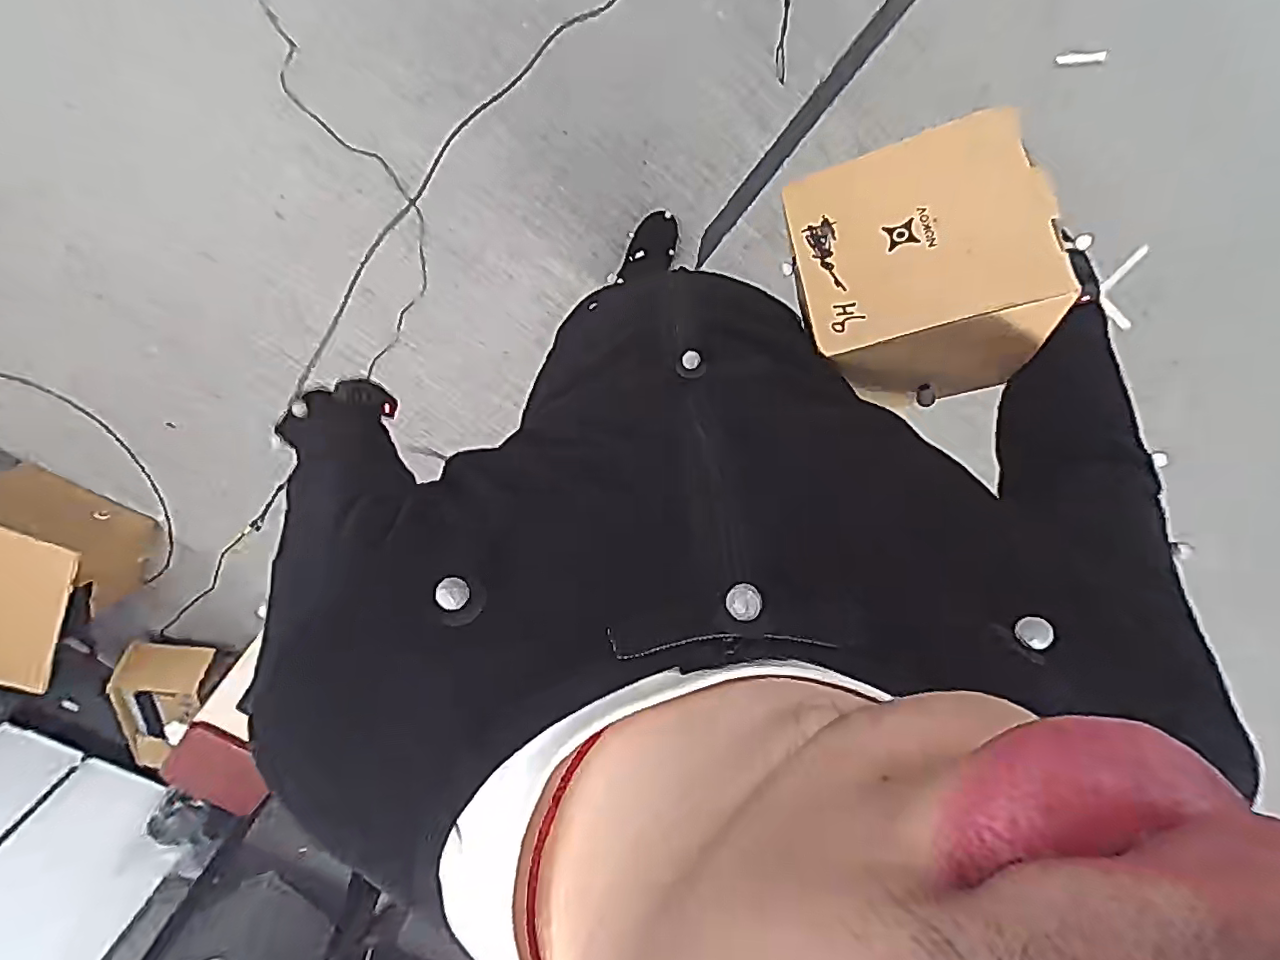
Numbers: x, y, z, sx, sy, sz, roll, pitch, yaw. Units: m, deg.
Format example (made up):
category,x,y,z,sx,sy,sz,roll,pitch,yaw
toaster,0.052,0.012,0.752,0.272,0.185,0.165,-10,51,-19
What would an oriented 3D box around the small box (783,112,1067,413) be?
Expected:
category,x,y,z,sx,sy,sz,roll,pitch,yaw
small box,0.243,-0.180,0.503,0.179,0.176,0.168,-13,73,19
